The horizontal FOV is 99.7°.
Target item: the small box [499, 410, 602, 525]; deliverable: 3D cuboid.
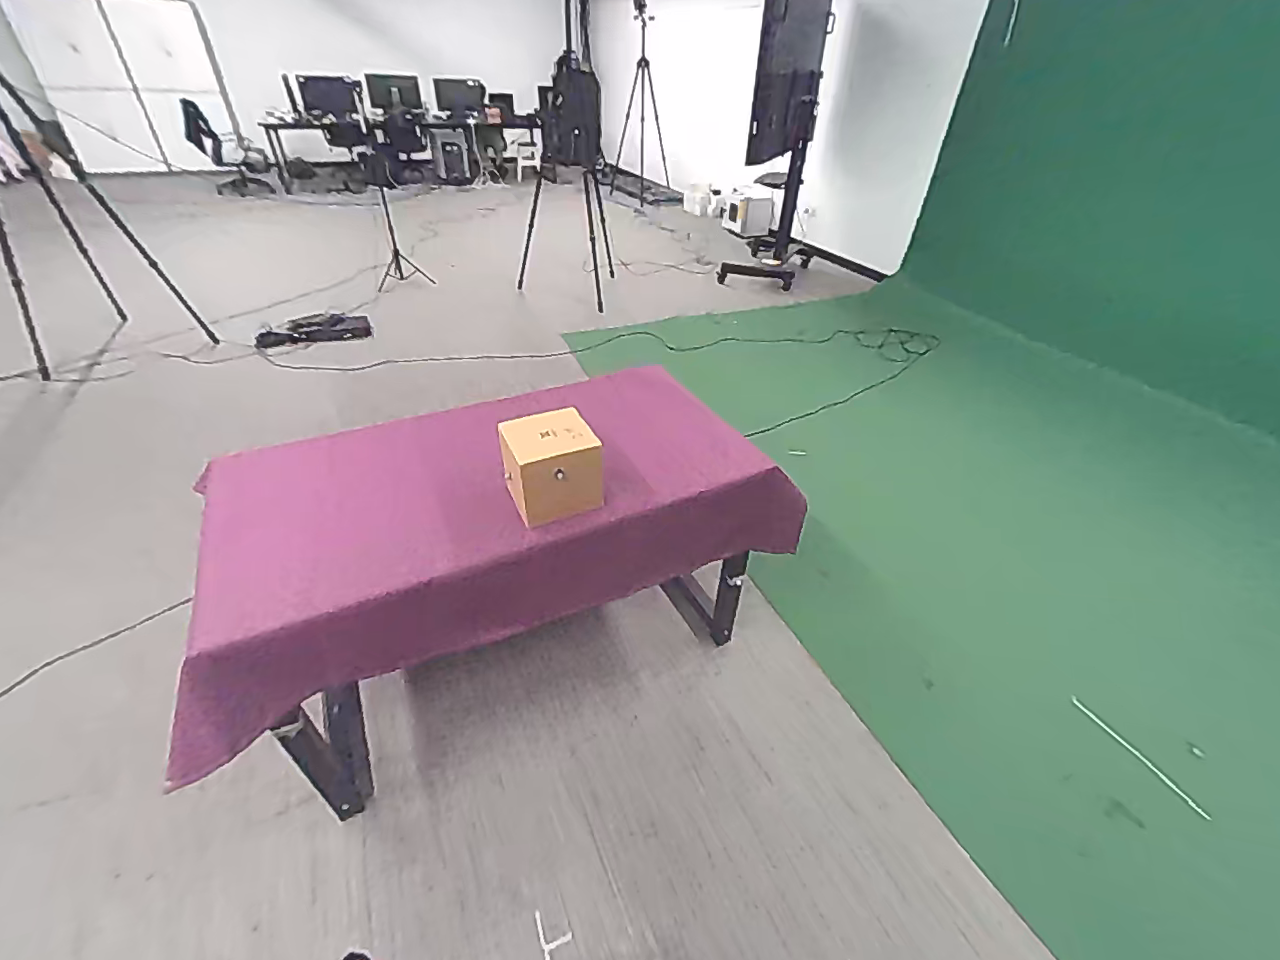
[{"bbox_3d":[-0.188,-0.026,1.162,0.179,0.176,0.168,-15,42,-21],"label":"small box"}]
